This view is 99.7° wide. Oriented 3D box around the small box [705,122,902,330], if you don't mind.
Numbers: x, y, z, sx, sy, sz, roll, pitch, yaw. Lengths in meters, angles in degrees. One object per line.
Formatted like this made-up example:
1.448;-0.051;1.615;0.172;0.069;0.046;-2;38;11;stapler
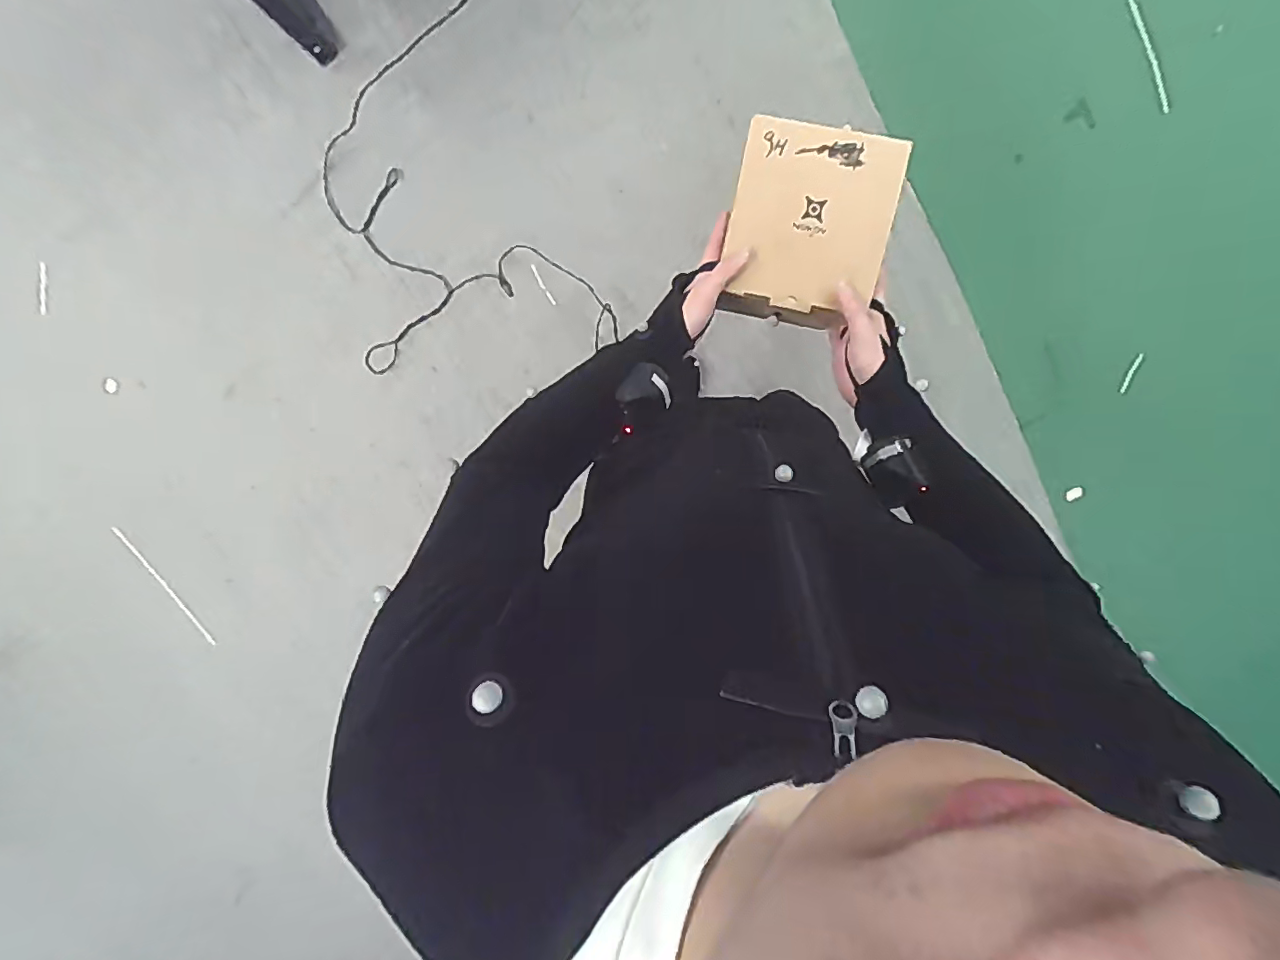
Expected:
0.173;-0.279;0.638;0.168;0.176;0.179;11;103;1;small box
